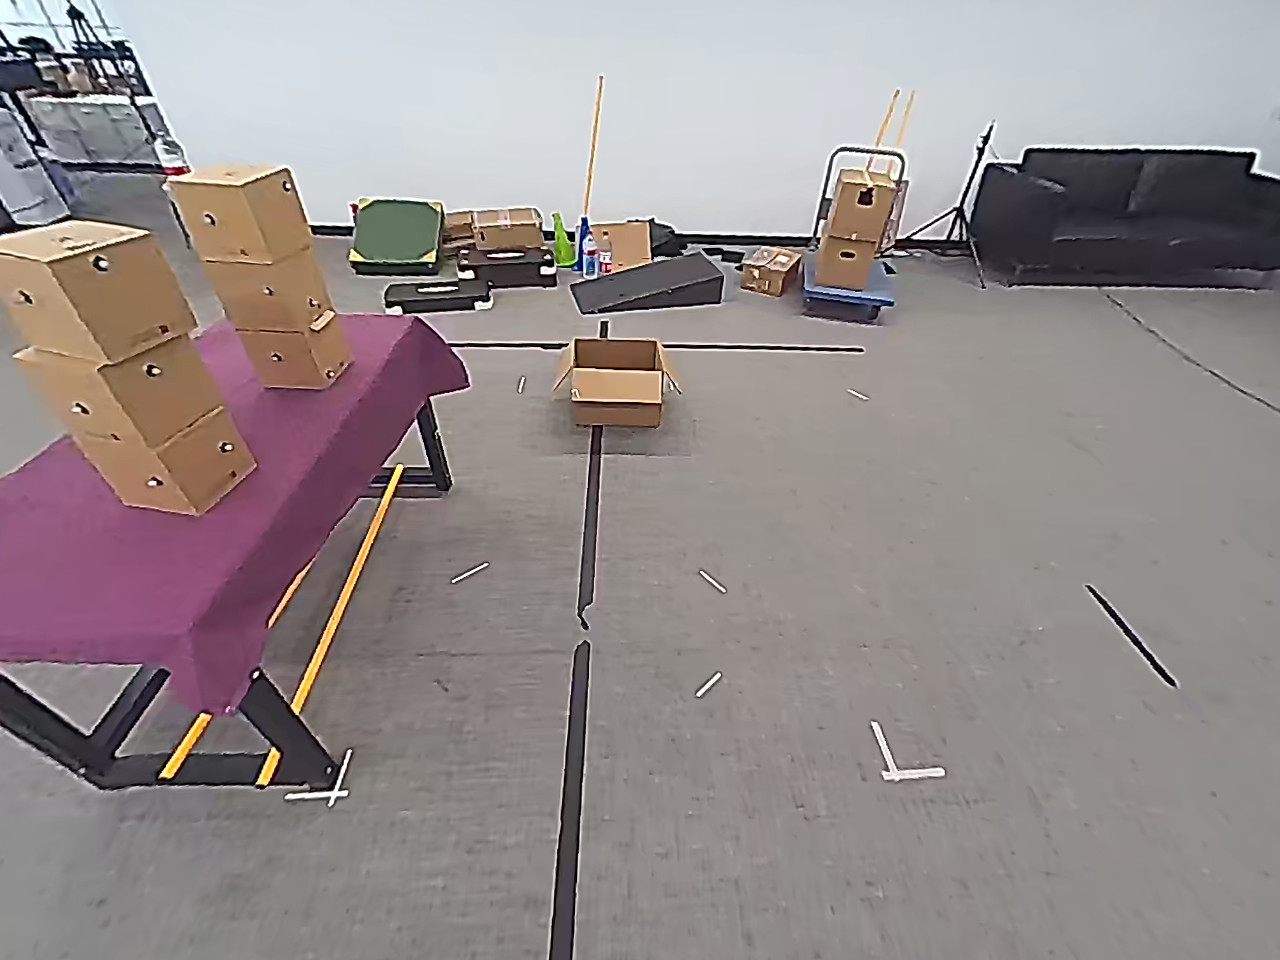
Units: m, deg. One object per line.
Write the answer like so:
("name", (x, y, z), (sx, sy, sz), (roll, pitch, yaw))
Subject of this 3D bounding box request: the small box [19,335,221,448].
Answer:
("small box", (-0.935, -0.180, 0.996), (0.168, 0.176, 0.179), (10, 40, 7))

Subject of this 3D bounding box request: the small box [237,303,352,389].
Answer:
("small box", (-0.910, -0.356, 1.448), (0.179, 0.176, 0.168), (2, 41, 1))

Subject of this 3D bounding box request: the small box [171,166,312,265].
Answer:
("small box", (-0.895, -0.606, 1.239), (0.168, 0.176, 0.179), (5, 40, 2))

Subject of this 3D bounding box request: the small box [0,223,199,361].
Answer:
("small box", (-0.907, -0.314, 0.903), (0.179, 0.176, 0.168), (12, 41, 11))

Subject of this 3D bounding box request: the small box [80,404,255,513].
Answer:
("small box", (-0.940, -0.052, 1.099), (0.179, 0.176, 0.168), (8, 40, 7))
